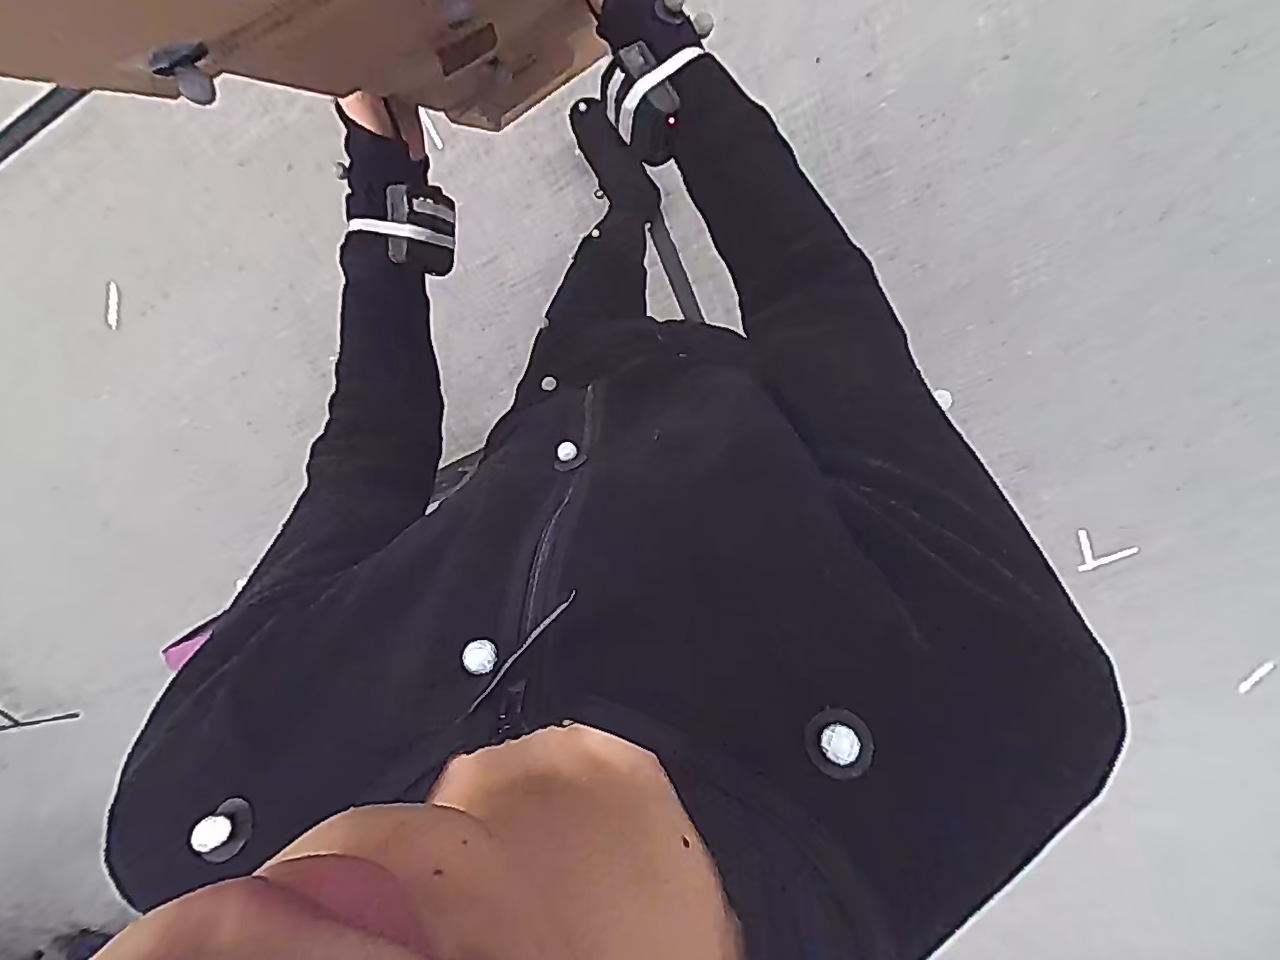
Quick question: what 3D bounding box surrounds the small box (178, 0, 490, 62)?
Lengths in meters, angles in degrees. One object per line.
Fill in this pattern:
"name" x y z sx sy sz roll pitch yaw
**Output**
"small box" -0.156 -0.321 0.241 0.168 0.176 0.179 -17 118 11
